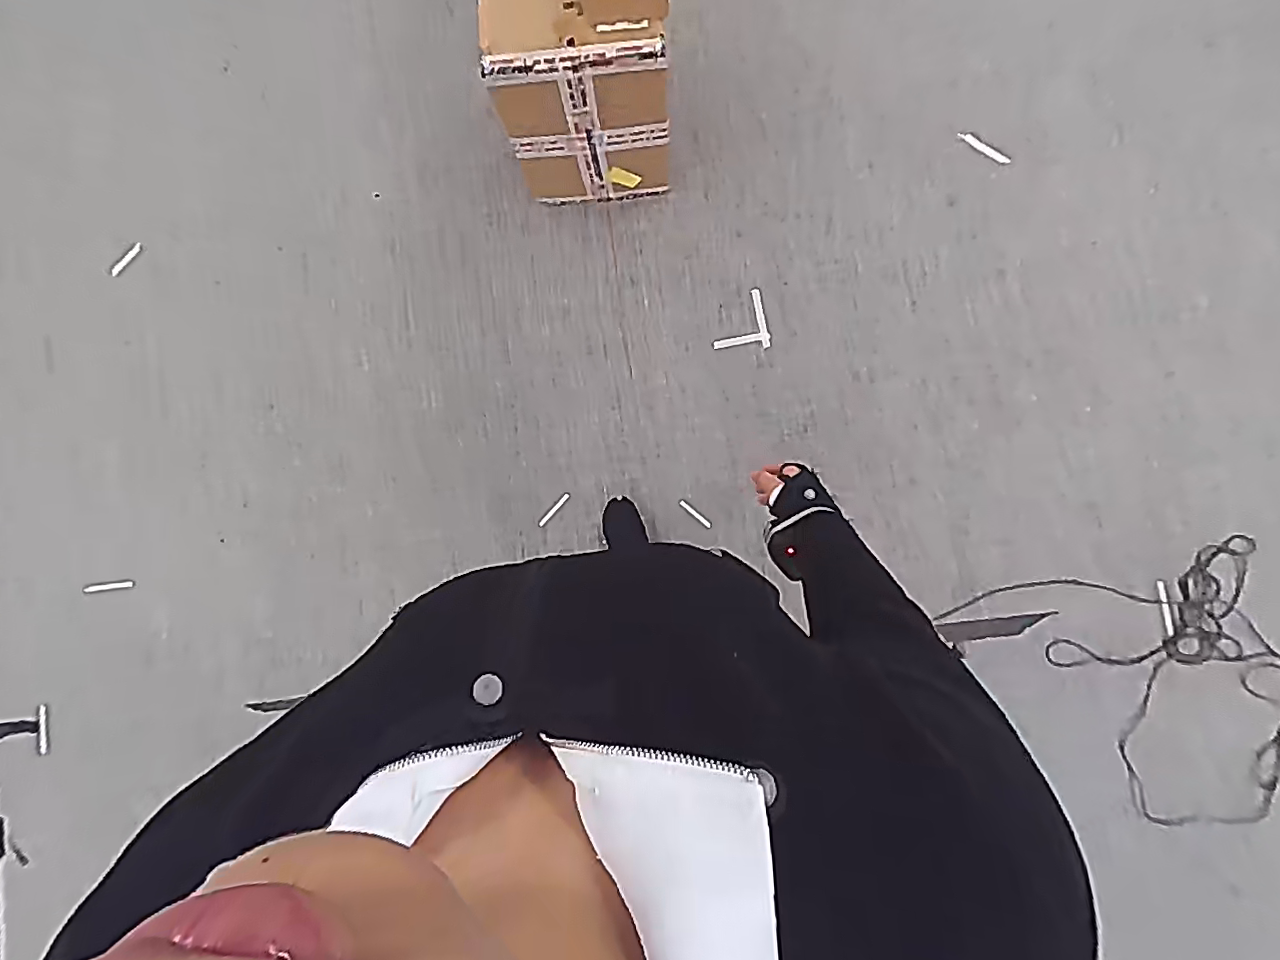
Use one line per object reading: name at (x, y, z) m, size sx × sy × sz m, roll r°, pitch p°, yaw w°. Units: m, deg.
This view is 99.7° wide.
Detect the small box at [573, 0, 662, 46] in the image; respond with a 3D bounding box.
small box at (-0.046, -0.997, 1.055) m, size 0.179 × 0.176 × 0.168 m, roll -5°, pitch 86°, yaw 2°
